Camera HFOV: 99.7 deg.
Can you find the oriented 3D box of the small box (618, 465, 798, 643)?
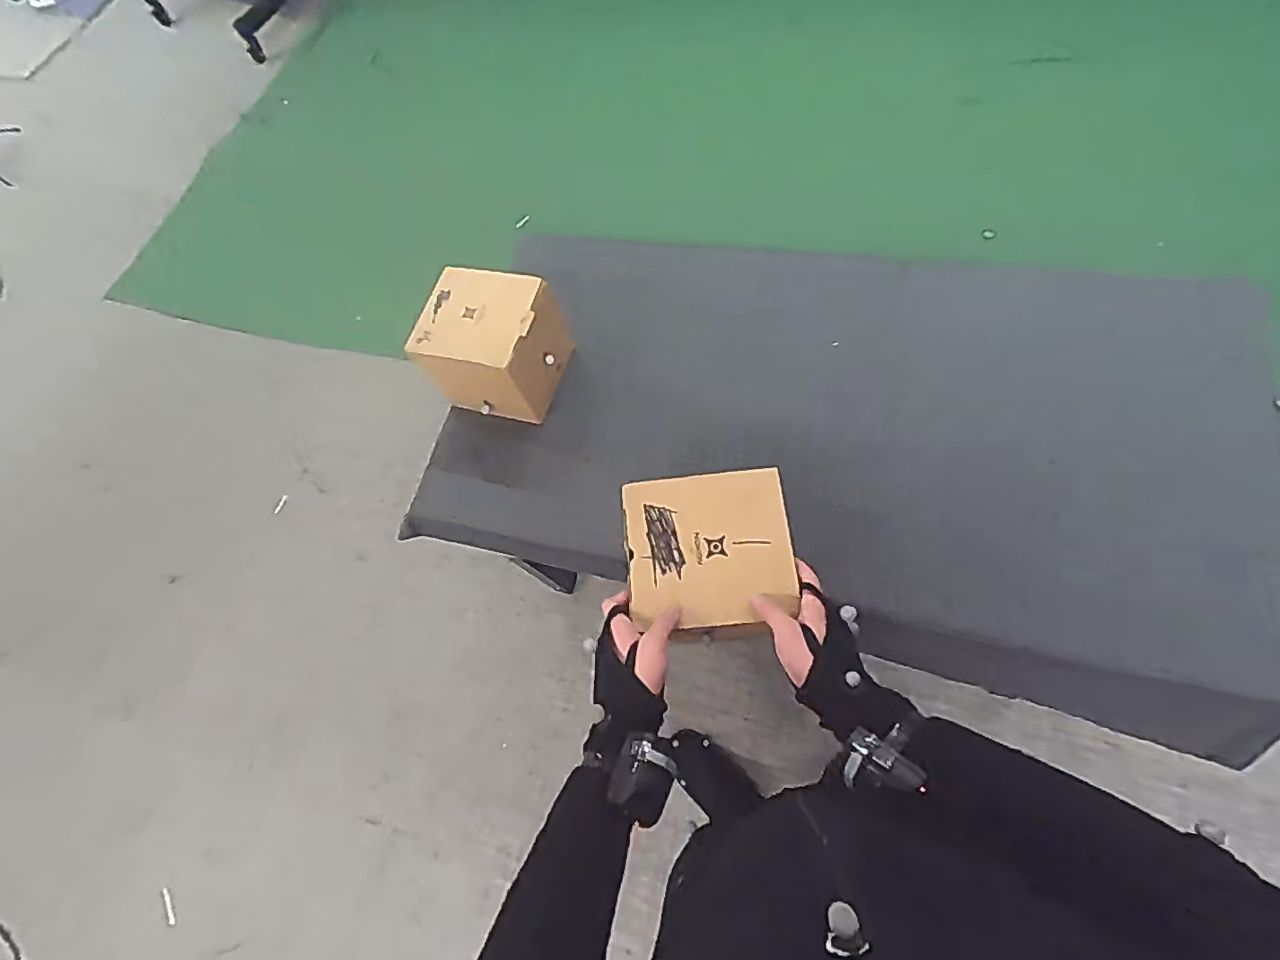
[{"bbox_3d":[0.075,0.096,0.638,0.179,0.176,0.168,-5,67,4],"label":"small box"}]

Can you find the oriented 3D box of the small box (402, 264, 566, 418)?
[{"bbox_3d":[-0.238,-0.218,0.880,0.179,0.176,0.168,13,70,13],"label":"small box"}]
